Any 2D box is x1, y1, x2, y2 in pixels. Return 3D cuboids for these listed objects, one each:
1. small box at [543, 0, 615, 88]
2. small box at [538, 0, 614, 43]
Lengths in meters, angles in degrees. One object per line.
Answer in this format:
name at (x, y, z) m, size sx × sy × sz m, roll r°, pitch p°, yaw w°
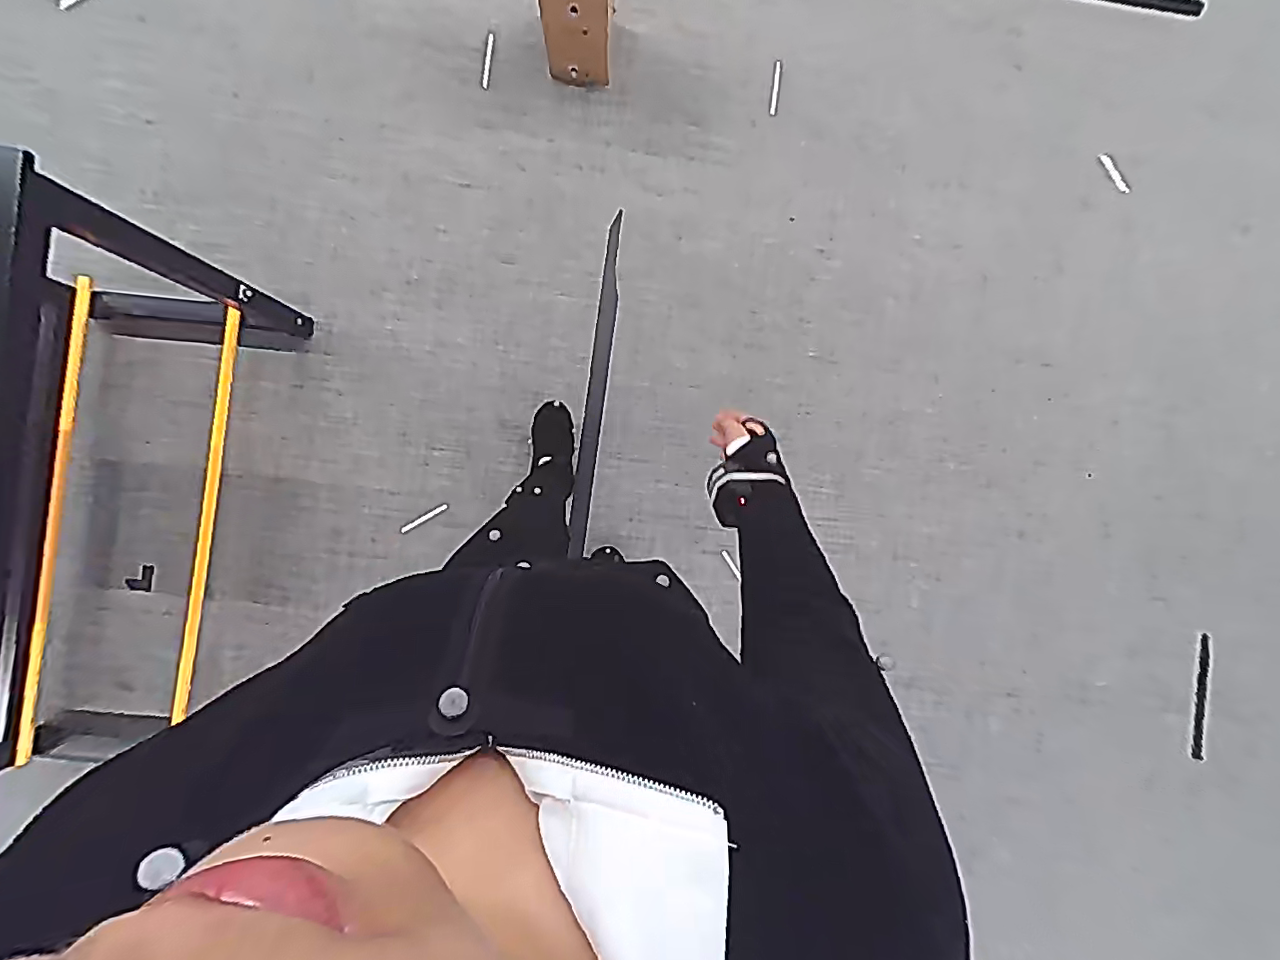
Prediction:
small box at (-0.154, -1.181, 1.416) m, size 0.168 × 0.176 × 0.179 m, roll 5°, pitch 90°, yaw -1°
small box at (-0.144, -1.166, 1.253) m, size 0.168 × 0.176 × 0.179 m, roll 5°, pitch 89°, yaw -2°
